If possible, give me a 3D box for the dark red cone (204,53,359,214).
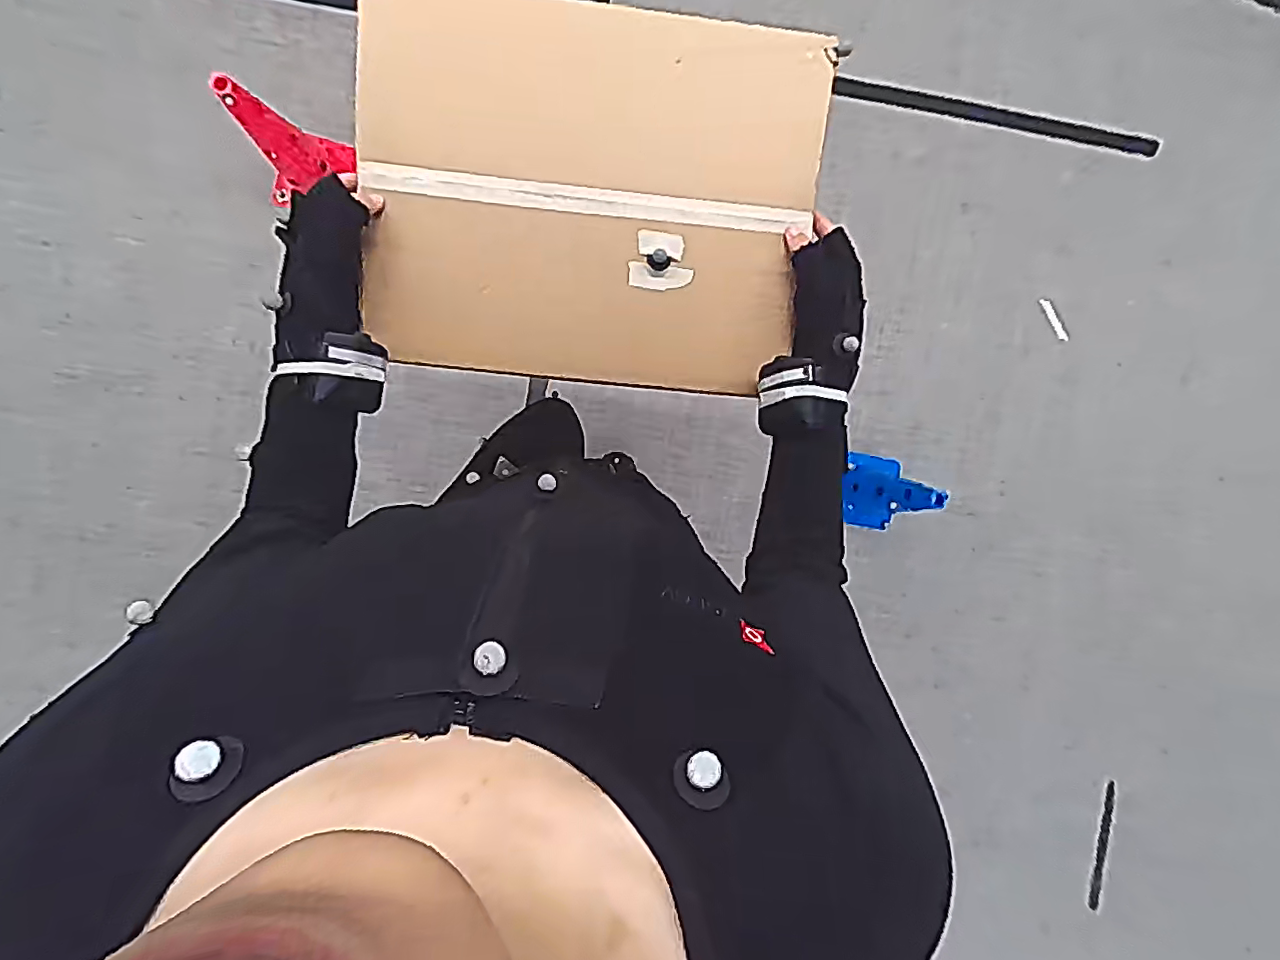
[{"bbox_3d":[-0.813,-0.783,1.202,0.201,0.394,0.202,15,92,-5],"label":"dark red cone"}]

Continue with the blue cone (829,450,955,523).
[{"bbox_3d":[0.642,0.025,1.351,0.192,0.380,0.193,12,92,-4],"label":"blue cone"}]

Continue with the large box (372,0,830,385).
[{"bbox_3d":[-0.049,-0.284,0.636,0.408,0.320,0.320,5,100,-4],"label":"large box"}]
